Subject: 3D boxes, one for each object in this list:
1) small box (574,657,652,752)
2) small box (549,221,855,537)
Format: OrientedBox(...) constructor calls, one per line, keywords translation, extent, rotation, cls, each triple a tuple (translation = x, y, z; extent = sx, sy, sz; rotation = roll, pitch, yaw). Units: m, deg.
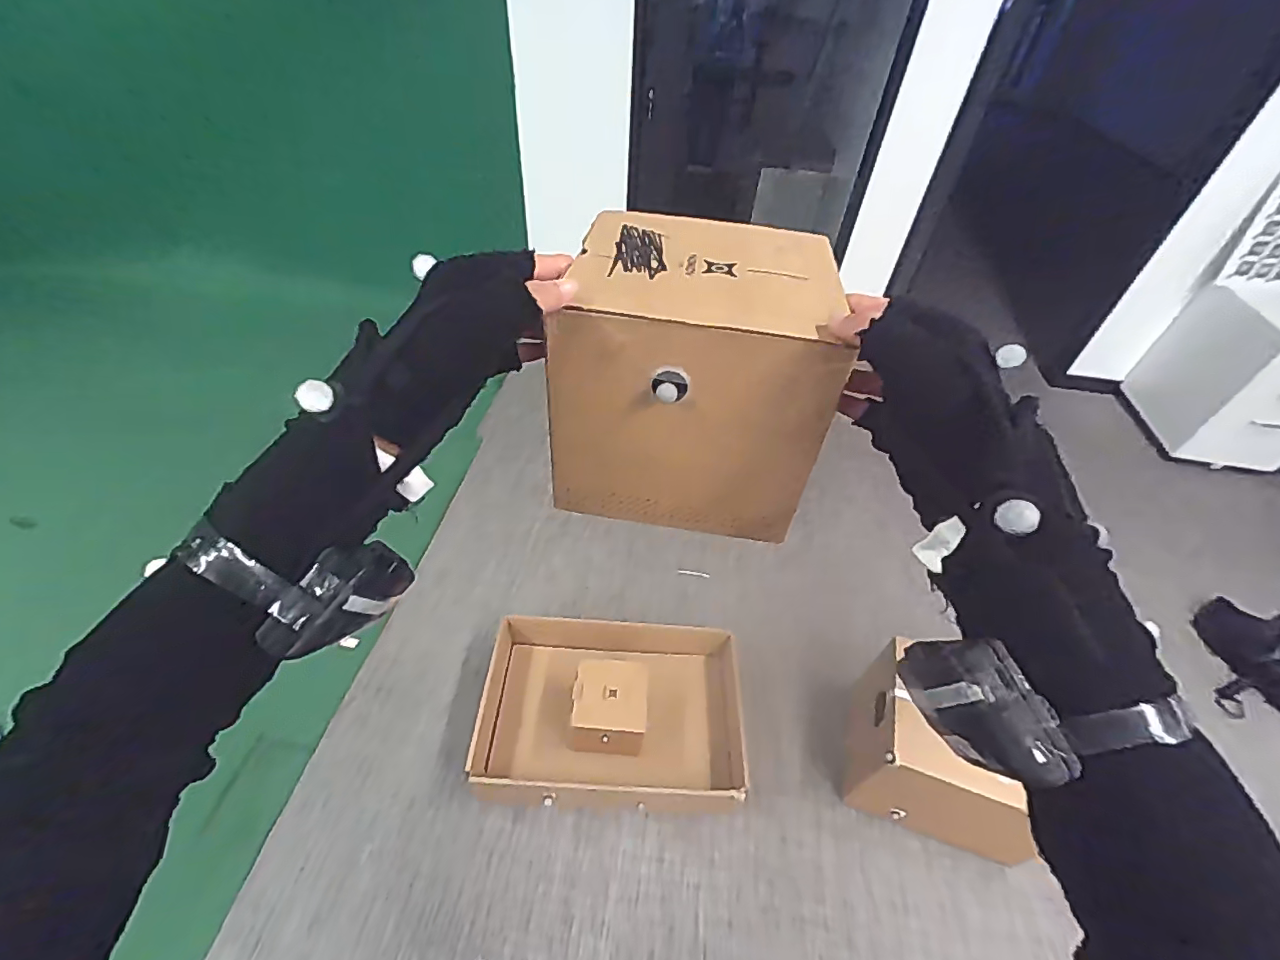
OrientedBox(translation=(-0.065, 0.557, 1.335), extent=(0.179, 0.176, 0.168), rotation=(5, 46, -1), cls="small box")
OrientedBox(translation=(0.039, -0.076, 0.412), extent=(0.179, 0.176, 0.168), rotation=(9, 44, 3), cls="small box")
